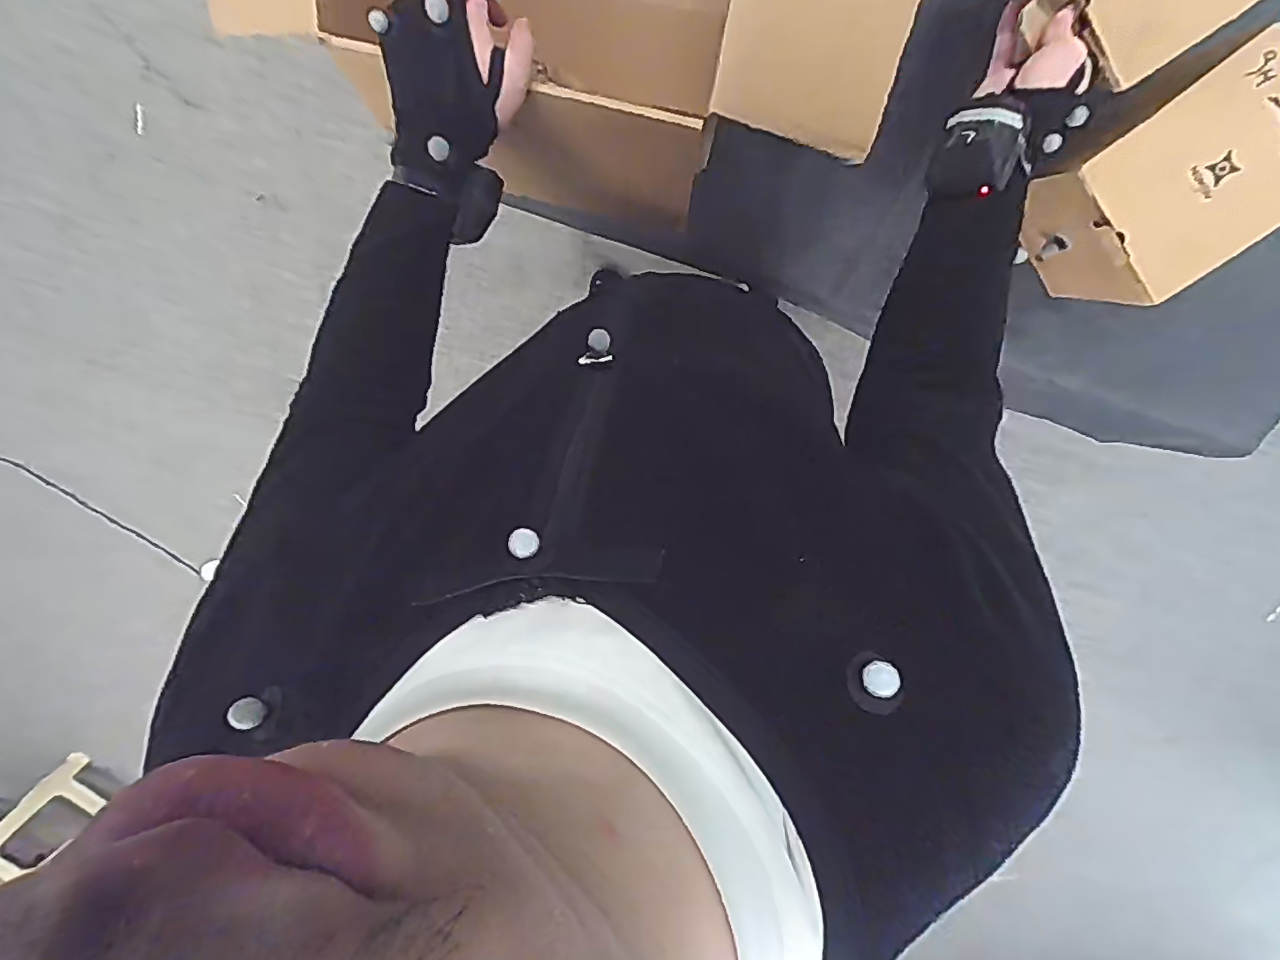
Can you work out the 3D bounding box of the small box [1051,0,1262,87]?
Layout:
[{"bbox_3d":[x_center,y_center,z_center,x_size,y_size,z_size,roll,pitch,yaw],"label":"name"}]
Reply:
[{"bbox_3d":[0.430,-0.463,0.422,0.168,0.176,0.179,43,133,-22],"label":"small box"}]

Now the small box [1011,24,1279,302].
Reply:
[{"bbox_3d":[0.545,-0.318,0.583,0.179,0.176,0.168,-35,105,19],"label":"small box"}]
